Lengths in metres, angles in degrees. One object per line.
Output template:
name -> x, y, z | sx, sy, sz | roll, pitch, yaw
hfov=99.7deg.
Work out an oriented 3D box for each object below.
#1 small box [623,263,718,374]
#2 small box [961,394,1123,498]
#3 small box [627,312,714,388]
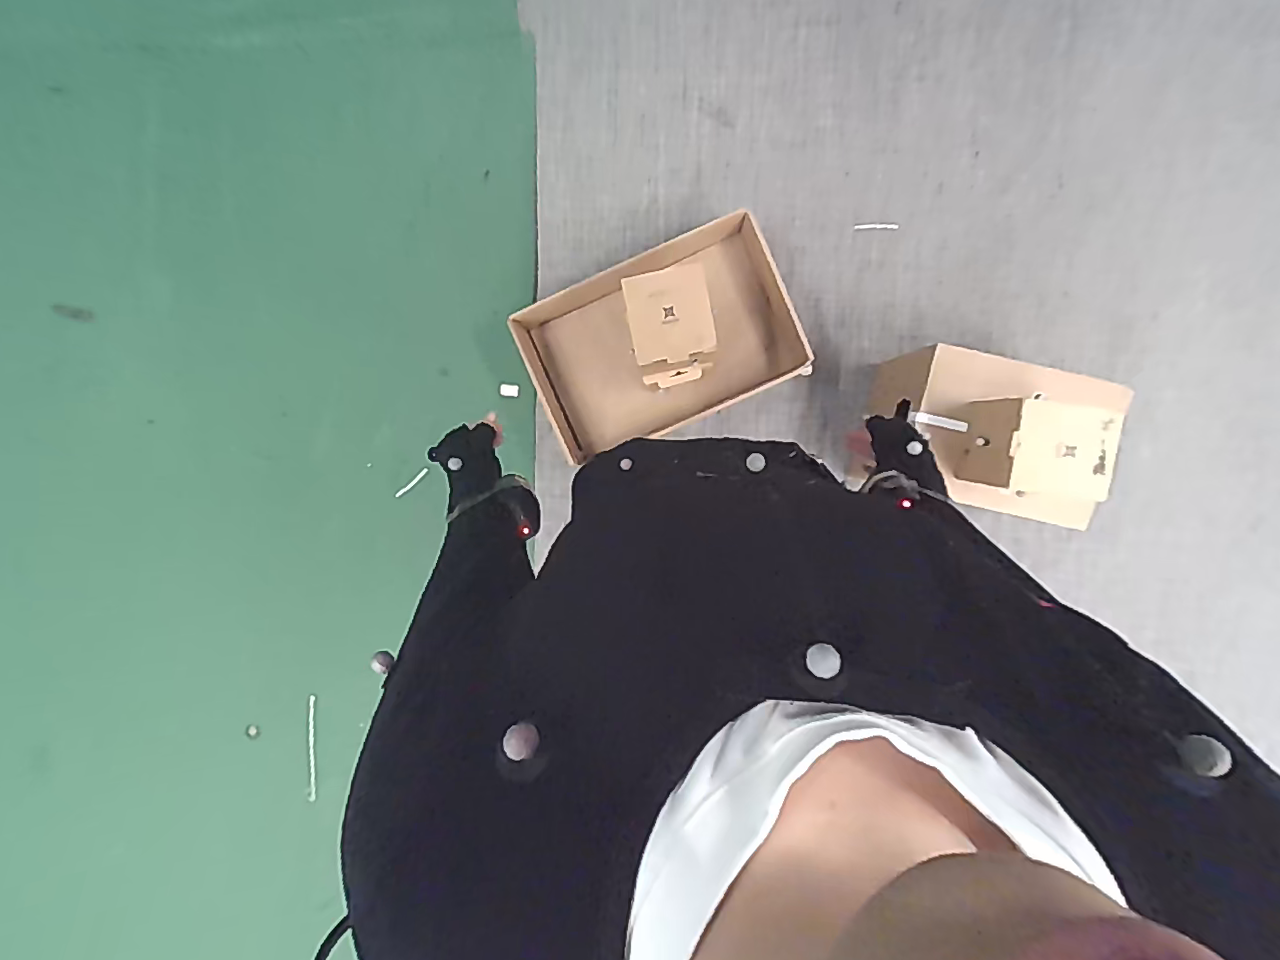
small box -> 0.067, -0.330, 1.146 | 0.168, 0.176, 0.179 | -12, 91, 4
small box -> 0.751, -0.065, 1.031 | 0.179, 0.176, 0.168 | 8, 96, 3
small box -> 0.077, -0.327, 1.308 | 0.168, 0.176, 0.179 | -16, 92, 5
